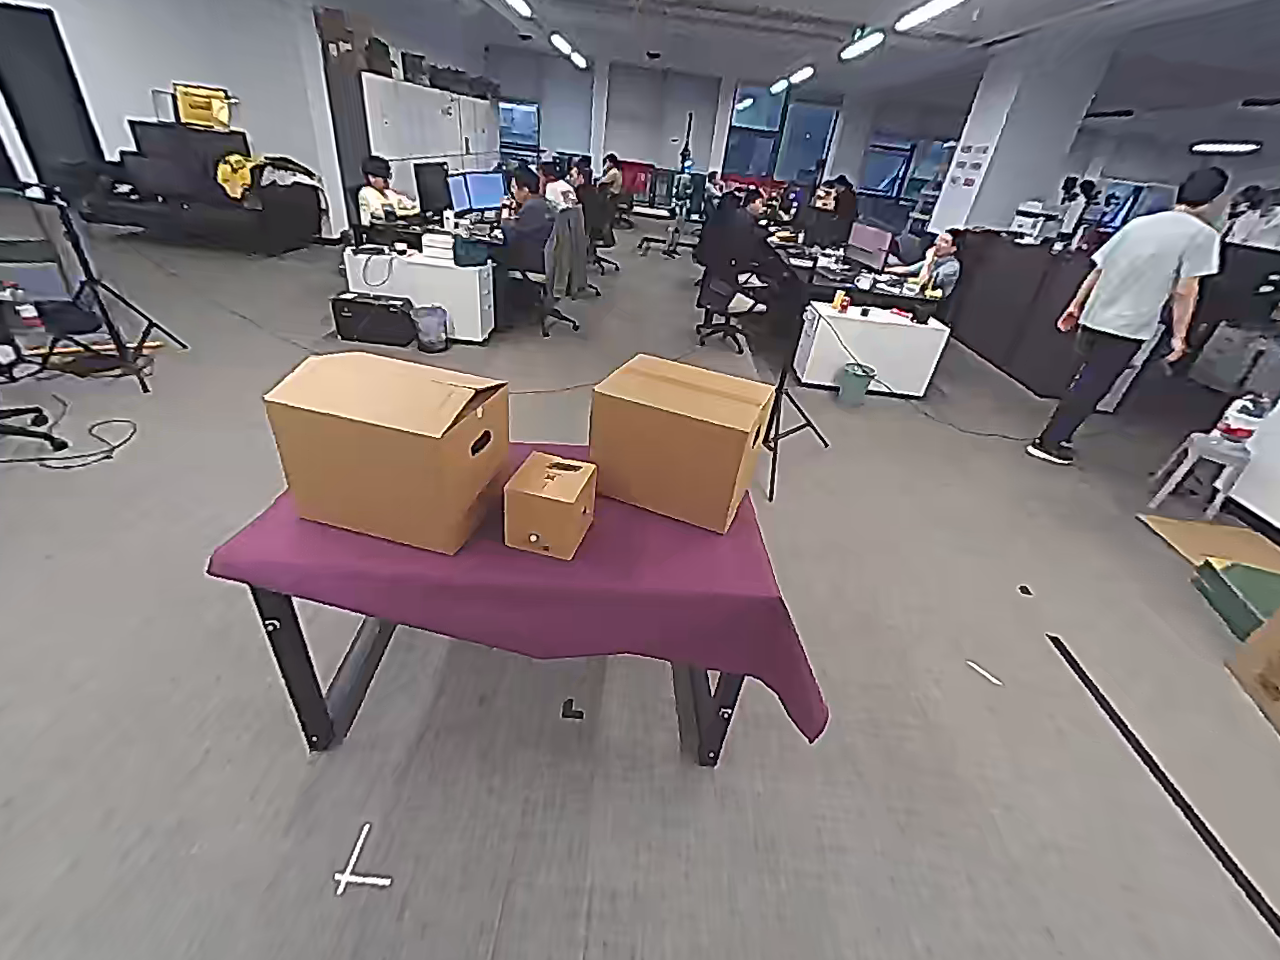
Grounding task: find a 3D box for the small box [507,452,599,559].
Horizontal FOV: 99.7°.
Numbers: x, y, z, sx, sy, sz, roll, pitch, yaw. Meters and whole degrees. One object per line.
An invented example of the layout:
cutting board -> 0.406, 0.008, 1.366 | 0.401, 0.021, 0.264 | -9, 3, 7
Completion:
small box -> -0.207, 0.059, 1.290 | 0.168, 0.176, 0.179 | 12, 33, 8
